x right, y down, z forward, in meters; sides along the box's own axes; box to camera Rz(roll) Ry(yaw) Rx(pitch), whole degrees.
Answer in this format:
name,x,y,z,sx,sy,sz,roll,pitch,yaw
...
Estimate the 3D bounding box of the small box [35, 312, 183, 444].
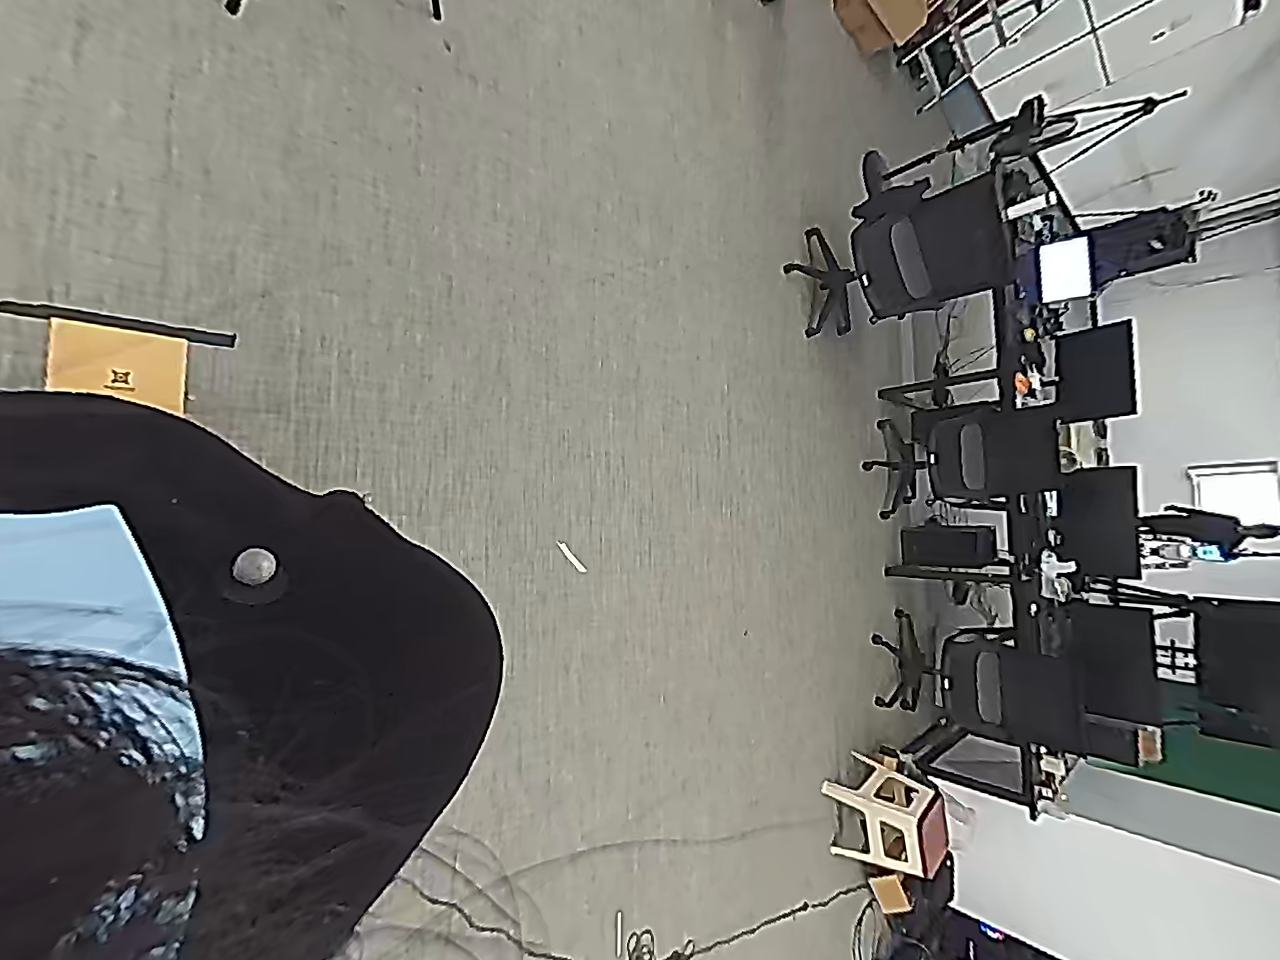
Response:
name,x,y,z,sx,sy,sz,roll,pitch,yaw
small box,-0.909,-0.164,0.936,0.168,0.176,0.179,4,85,-42
